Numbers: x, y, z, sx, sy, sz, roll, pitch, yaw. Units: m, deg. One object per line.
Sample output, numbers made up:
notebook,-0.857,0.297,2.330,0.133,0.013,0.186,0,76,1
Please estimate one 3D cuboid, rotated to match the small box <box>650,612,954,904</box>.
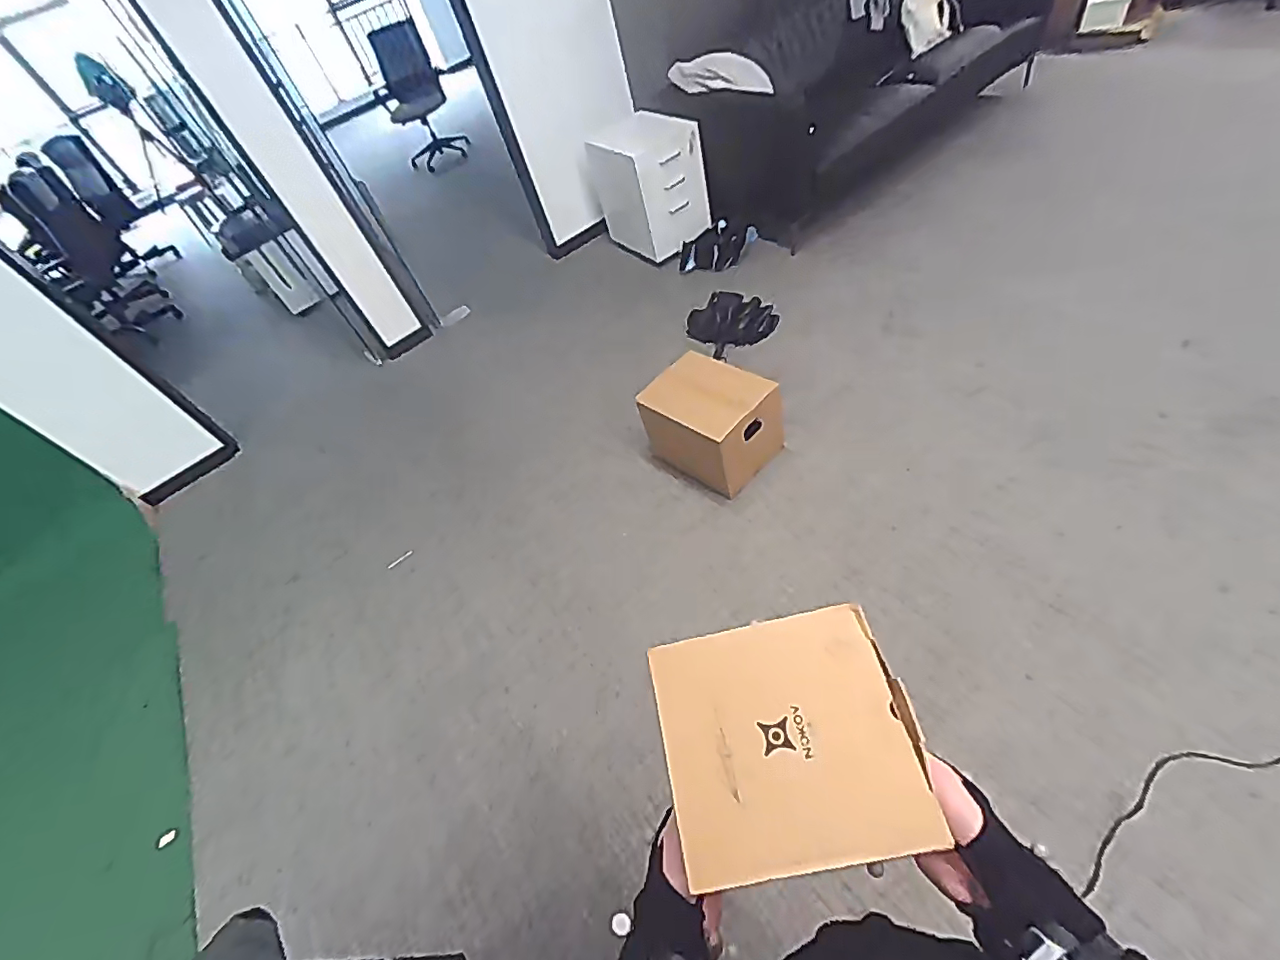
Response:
small box,0.120,0.232,0.457,0.179,0.176,0.168,-16,56,6
